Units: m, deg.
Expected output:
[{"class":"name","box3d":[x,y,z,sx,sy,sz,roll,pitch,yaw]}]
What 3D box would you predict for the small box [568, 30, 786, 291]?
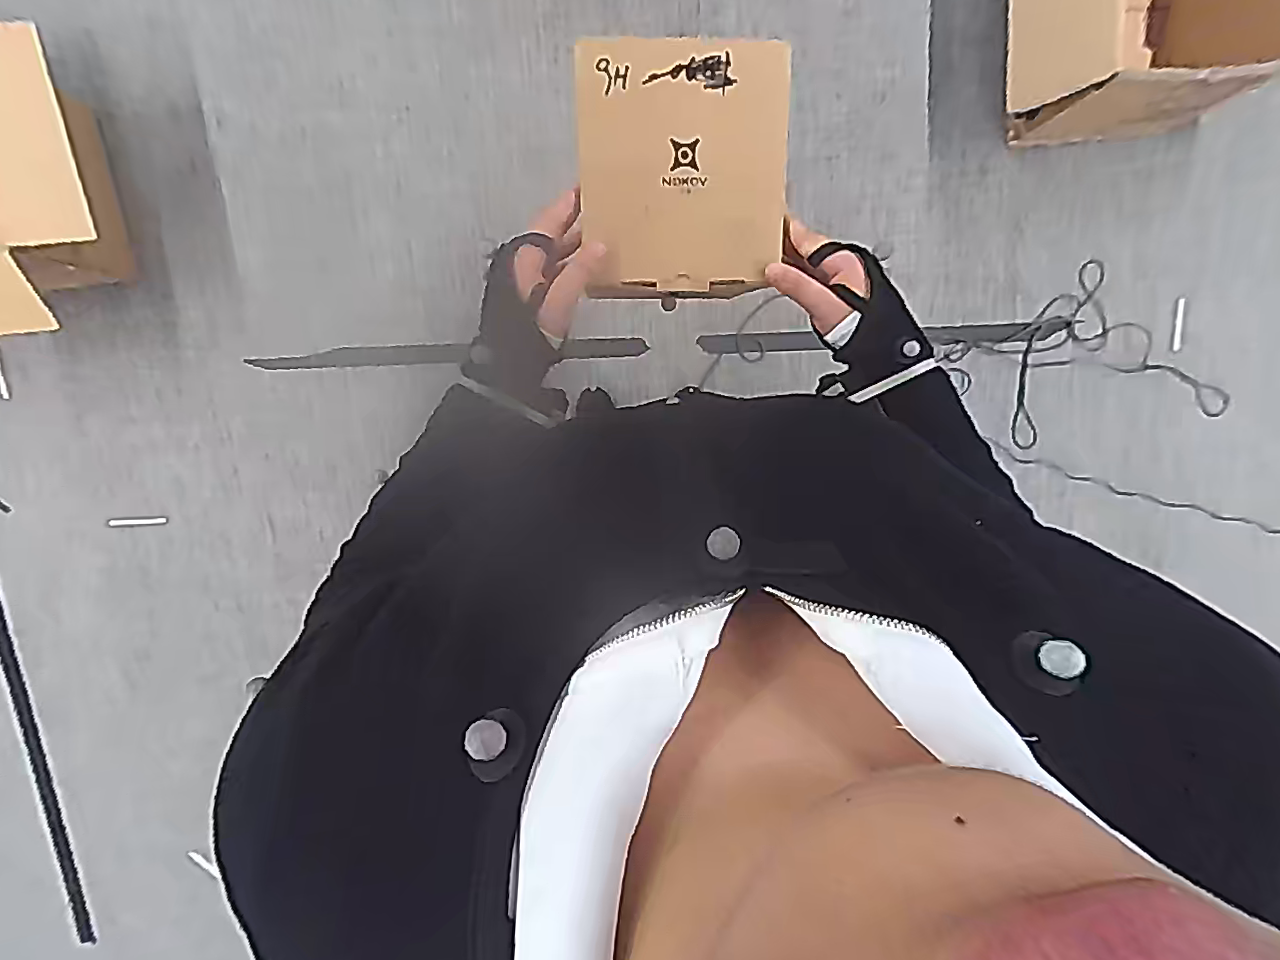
[{"class":"small box","box3d":[0.024,-0.270,0.500,0.168,0.176,0.179,-2,106,-4]}]
